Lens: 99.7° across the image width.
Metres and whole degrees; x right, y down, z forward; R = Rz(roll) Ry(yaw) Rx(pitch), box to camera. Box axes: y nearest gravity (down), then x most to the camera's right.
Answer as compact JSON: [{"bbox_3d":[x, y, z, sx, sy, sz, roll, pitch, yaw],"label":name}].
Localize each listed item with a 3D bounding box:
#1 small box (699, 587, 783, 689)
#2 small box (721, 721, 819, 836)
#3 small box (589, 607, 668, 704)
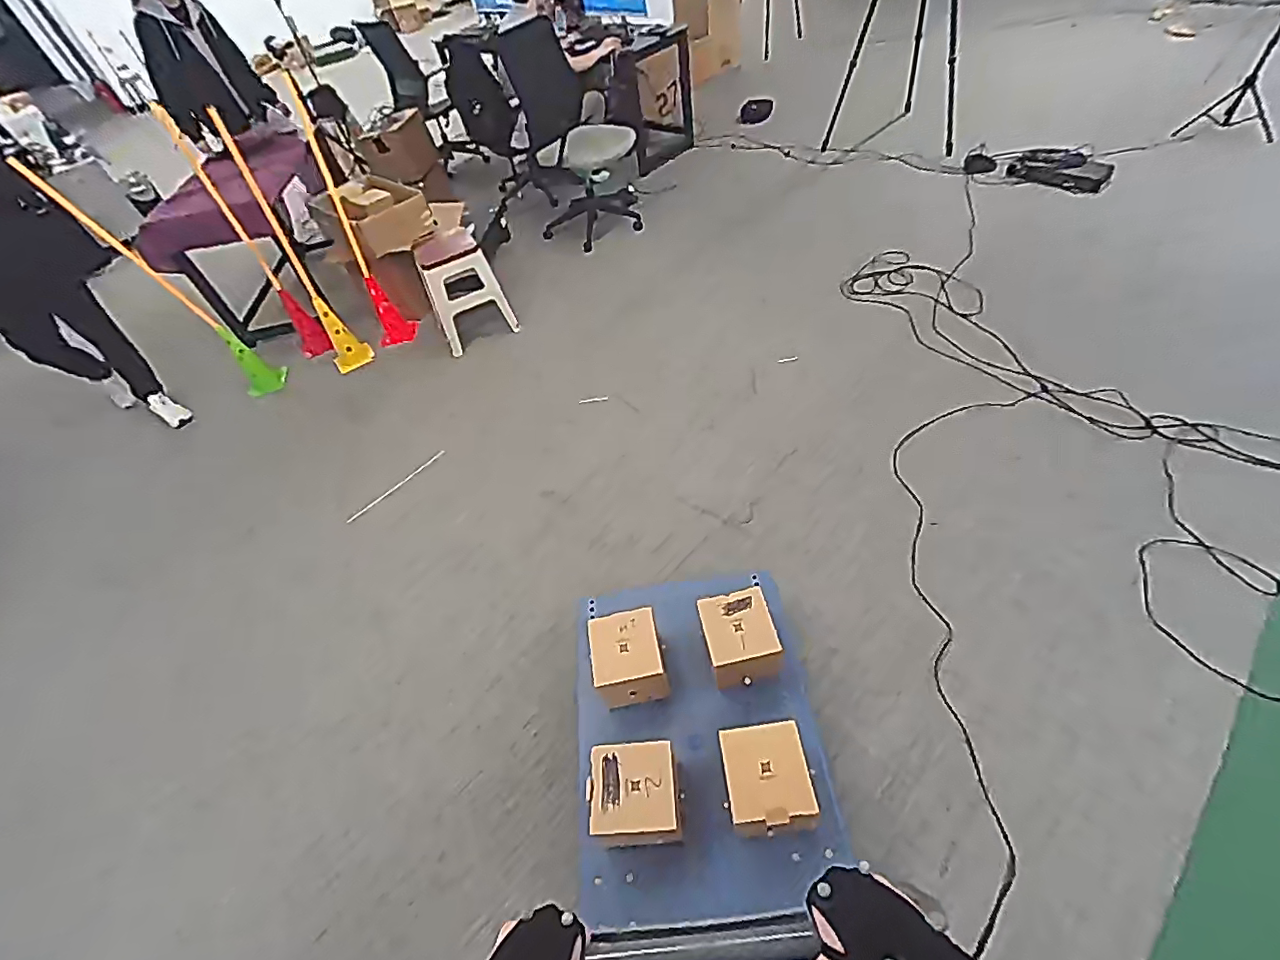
[{"bbox_3d":[0.247,0.398,1.356,0.168,0.176,0.179,-13,50,1],"label":"small box"},{"bbox_3d":[0.266,0.637,1.151,0.168,0.176,0.179,-9,50,3],"label":"small box"},{"bbox_3d":[-0.027,0.449,1.364,0.168,0.176,0.179,-11,49,0],"label":"small box"}]
